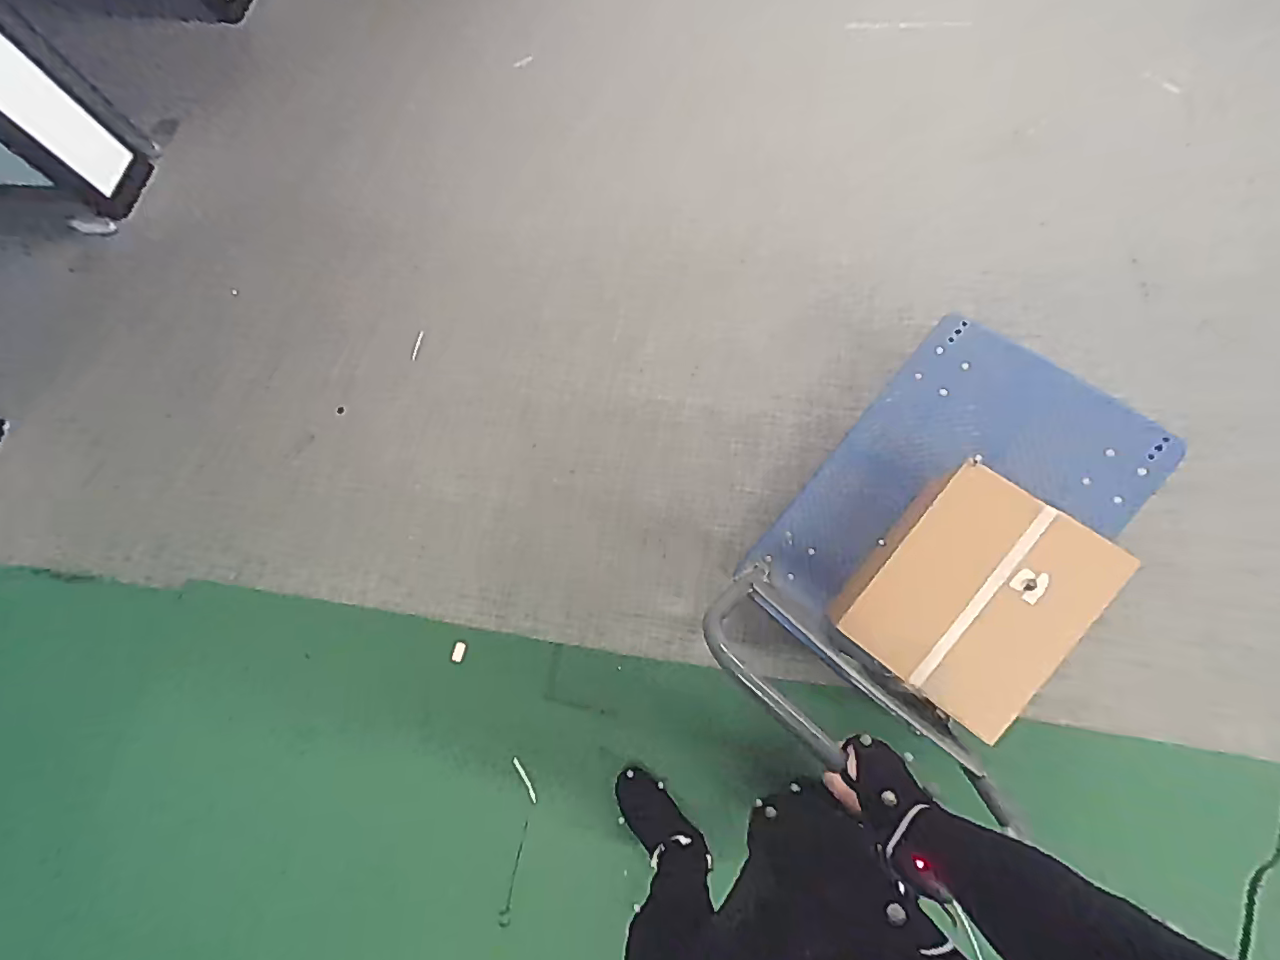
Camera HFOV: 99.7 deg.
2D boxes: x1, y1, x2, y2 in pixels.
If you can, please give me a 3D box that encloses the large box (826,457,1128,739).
[{"bbox_3d":[0.635,0.227,1.107,0.320,0.320,0.408,39,92,17],"label":"large box"}]
